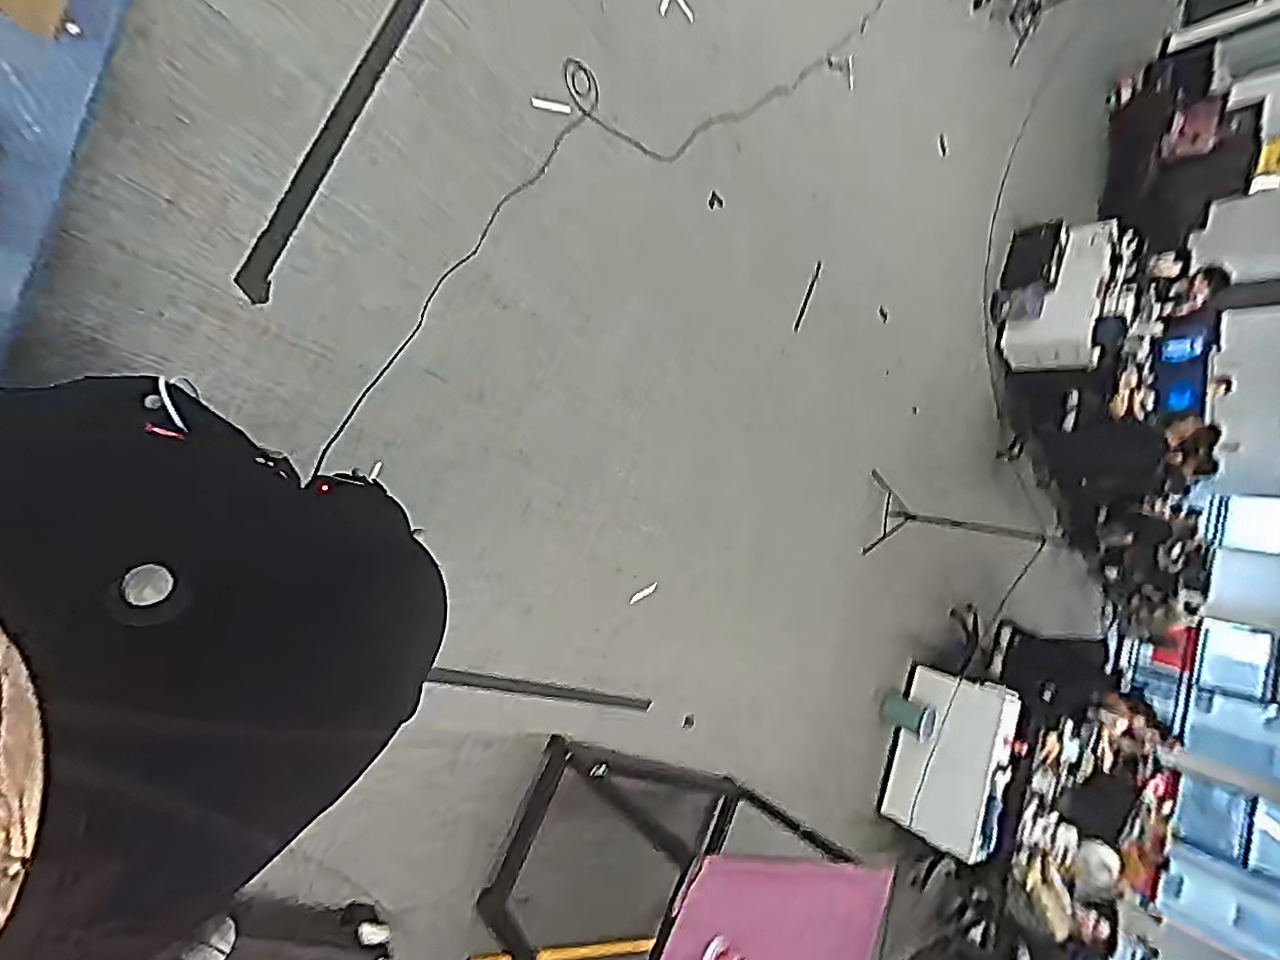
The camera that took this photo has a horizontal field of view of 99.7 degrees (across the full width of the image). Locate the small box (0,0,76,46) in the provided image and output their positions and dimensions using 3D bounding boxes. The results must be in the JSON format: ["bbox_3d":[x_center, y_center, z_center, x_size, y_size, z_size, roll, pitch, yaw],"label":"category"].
[{"bbox_3d":[-0.930,-0.787,0.767,0.168,0.176,0.179,19,85,-40],"label":"small box"}]
